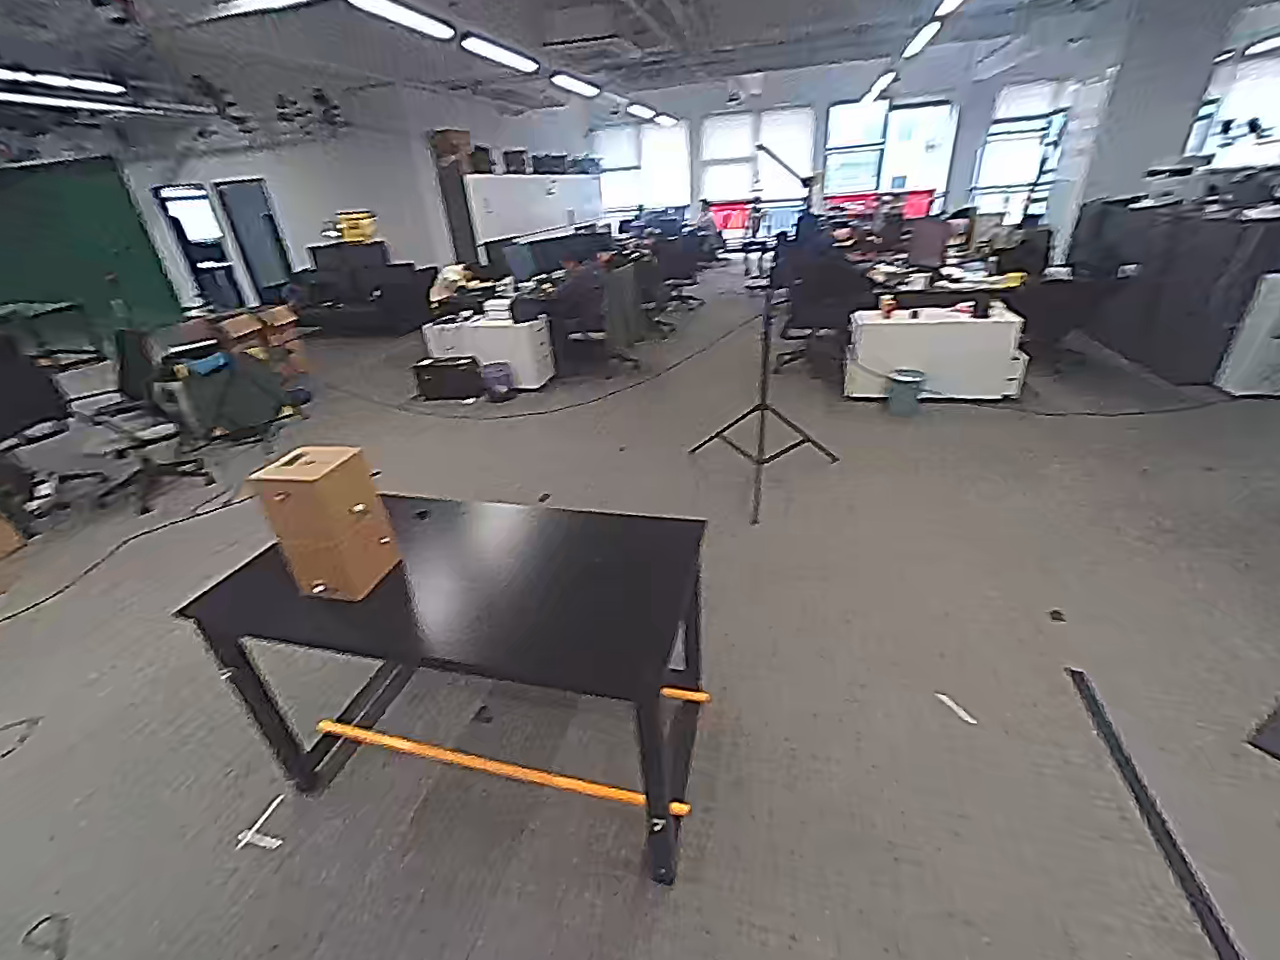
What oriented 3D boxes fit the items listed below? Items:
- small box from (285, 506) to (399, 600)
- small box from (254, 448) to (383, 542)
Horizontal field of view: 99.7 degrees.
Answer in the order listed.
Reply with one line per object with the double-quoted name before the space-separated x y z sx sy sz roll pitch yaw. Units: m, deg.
"small box" -0.732 0.177 1.356 0.168 0.176 0.179 1 30 12
"small box" -0.747 0.034 1.276 0.179 0.176 0.168 2 29 11
